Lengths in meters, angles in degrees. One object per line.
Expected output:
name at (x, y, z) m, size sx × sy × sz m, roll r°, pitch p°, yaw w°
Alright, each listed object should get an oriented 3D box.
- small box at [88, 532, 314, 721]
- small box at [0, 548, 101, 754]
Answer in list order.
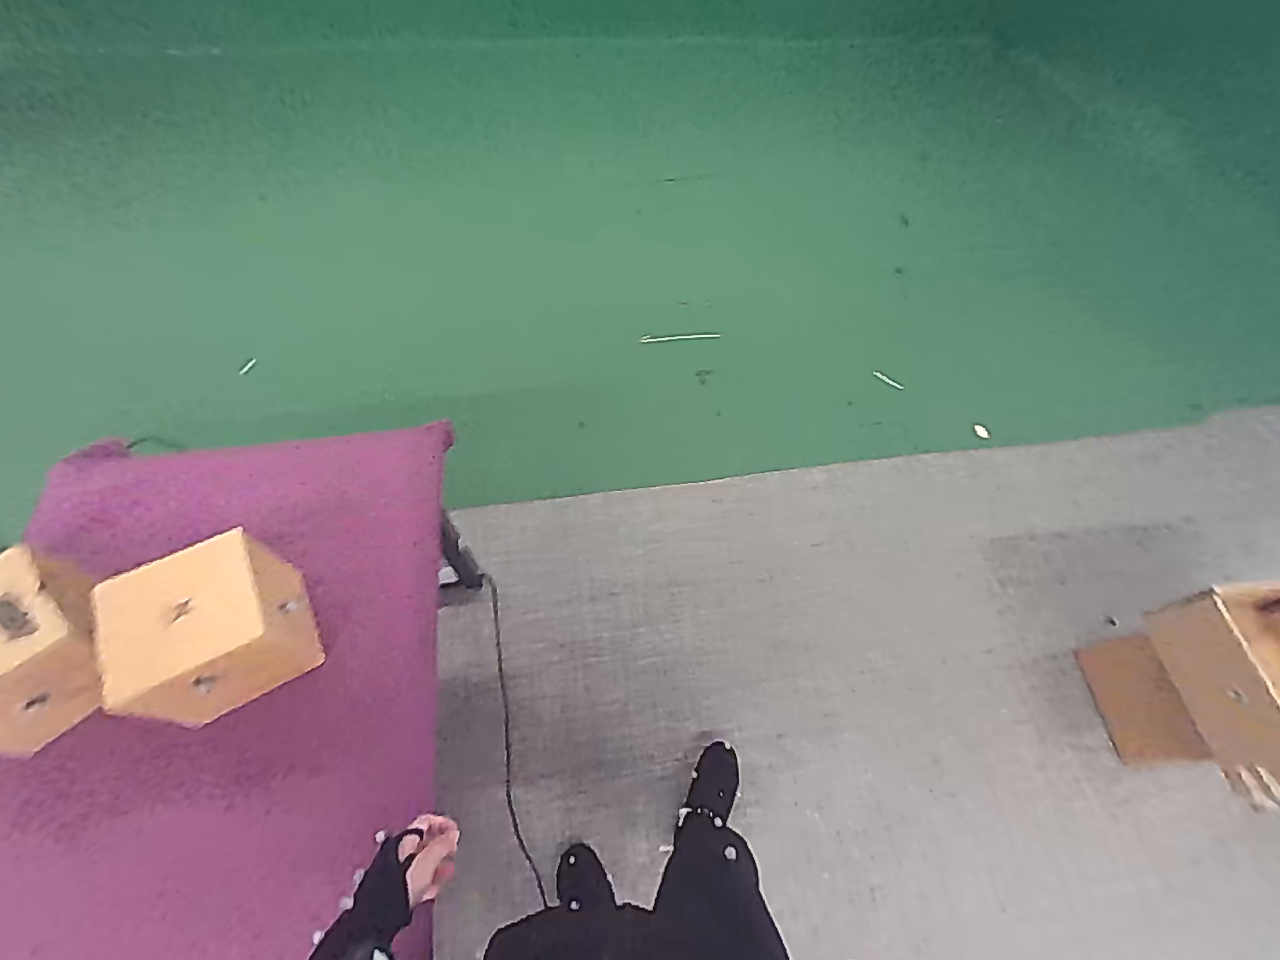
small box at (-0.576, 0.203, 0.734) m, size 0.179 × 0.176 × 0.168 m, roll -26°, pitch 65°, yaw -16°
small box at (-0.806, 0.226, 0.703) m, size 0.168 × 0.176 × 0.179 m, roll 42°, pitch 66°, yaw 19°
